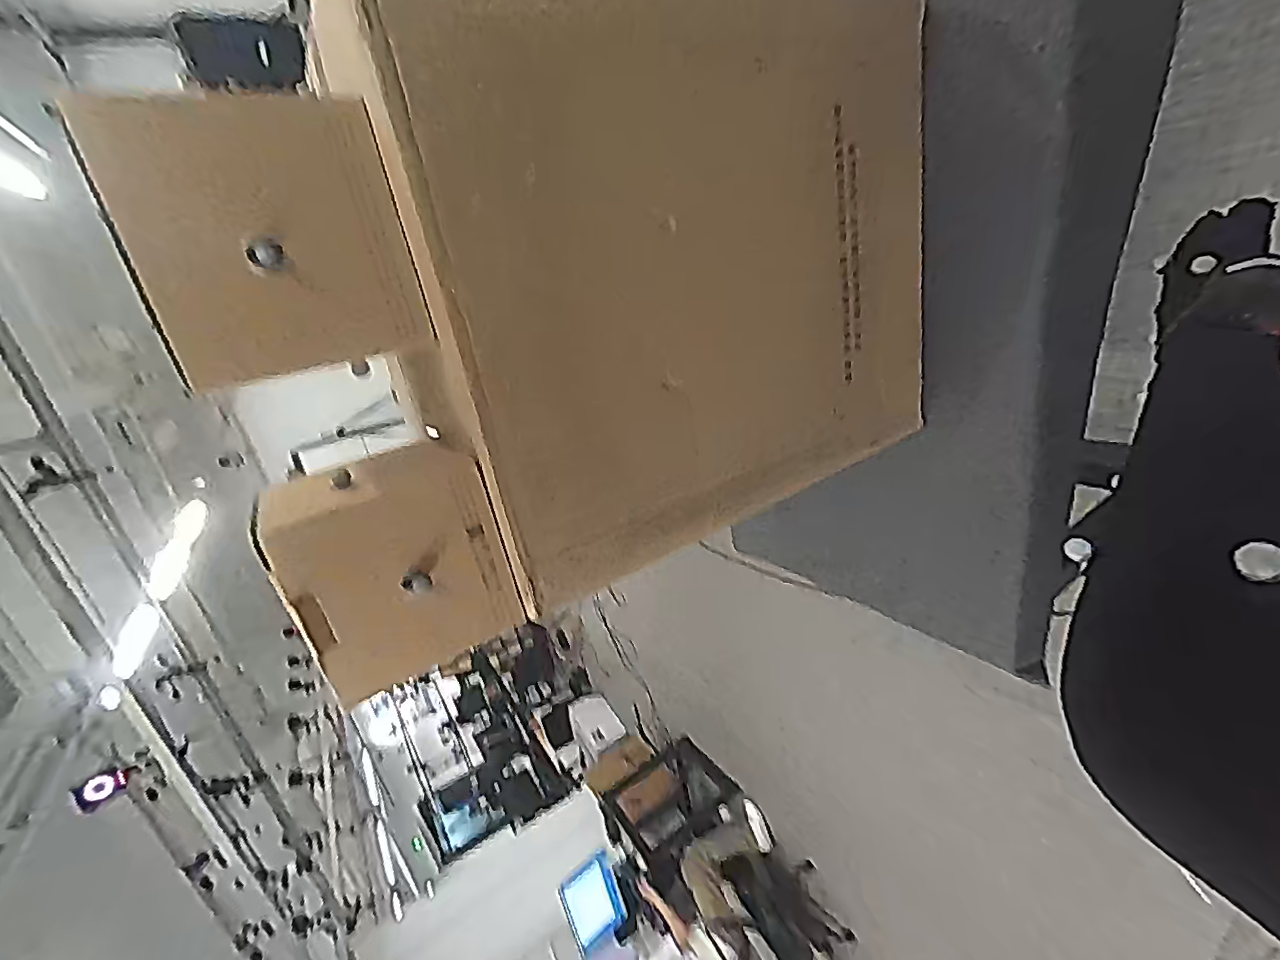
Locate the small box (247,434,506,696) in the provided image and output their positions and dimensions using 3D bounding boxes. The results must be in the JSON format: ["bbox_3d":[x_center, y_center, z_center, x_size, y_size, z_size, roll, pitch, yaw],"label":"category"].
[{"bbox_3d":[-0.246,0.062,0.523,0.179,0.176,0.168,17,124,53],"label":"small box"}]

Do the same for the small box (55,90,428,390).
[{"bbox_3d":[-0.296,-0.183,0.436,0.168,0.176,0.179,18,126,53],"label":"small box"}]
